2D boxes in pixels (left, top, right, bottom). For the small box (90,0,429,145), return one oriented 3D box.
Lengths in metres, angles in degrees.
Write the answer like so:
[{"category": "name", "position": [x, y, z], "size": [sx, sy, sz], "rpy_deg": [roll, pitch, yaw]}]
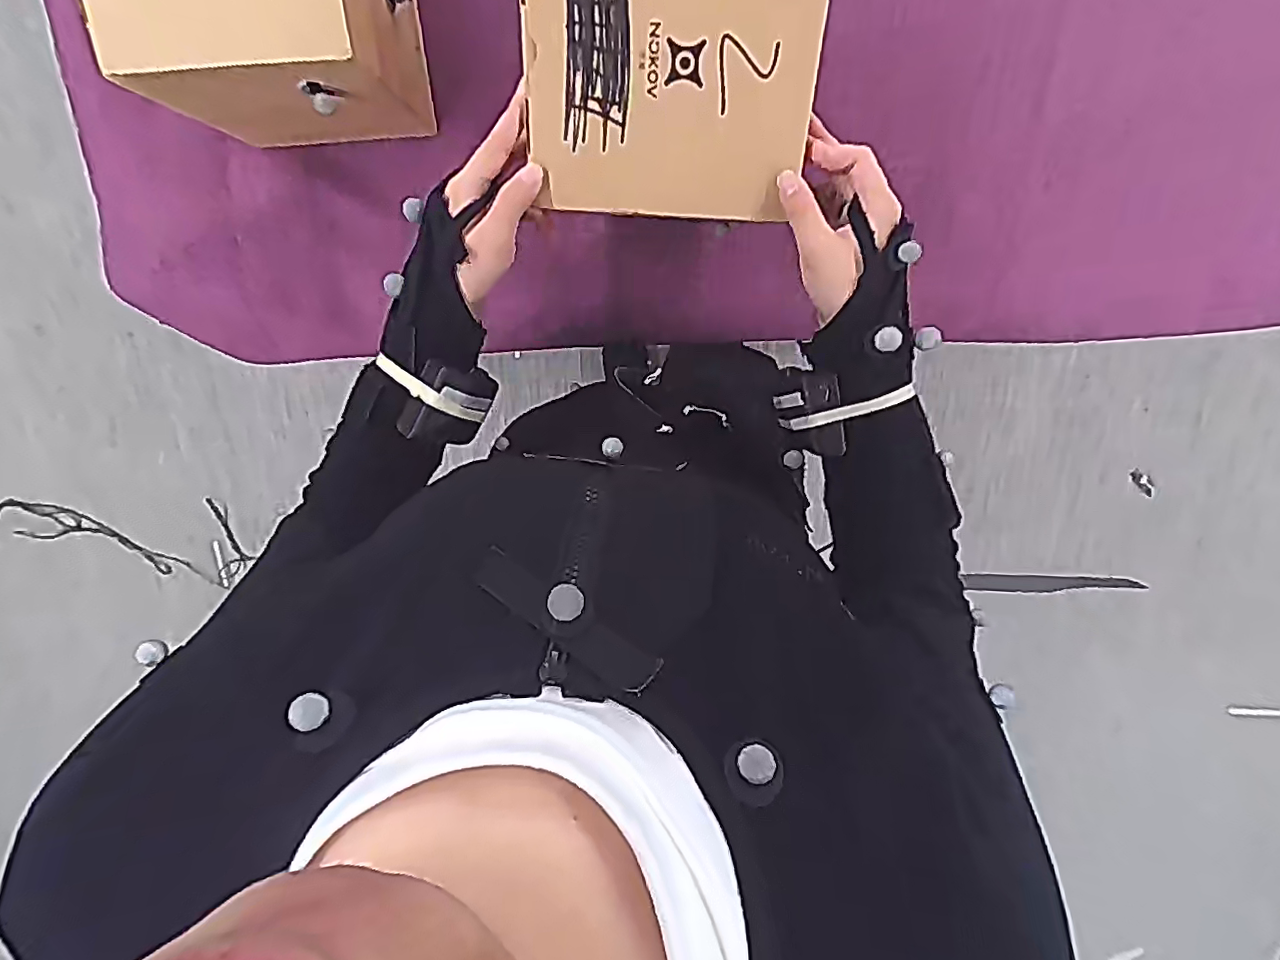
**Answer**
[{"category": "small box", "position": [-0.282, -0.382, 0.424], "size": [0.179, 0.176, 0.168], "rpy_deg": [-3, 106, 0]}]
